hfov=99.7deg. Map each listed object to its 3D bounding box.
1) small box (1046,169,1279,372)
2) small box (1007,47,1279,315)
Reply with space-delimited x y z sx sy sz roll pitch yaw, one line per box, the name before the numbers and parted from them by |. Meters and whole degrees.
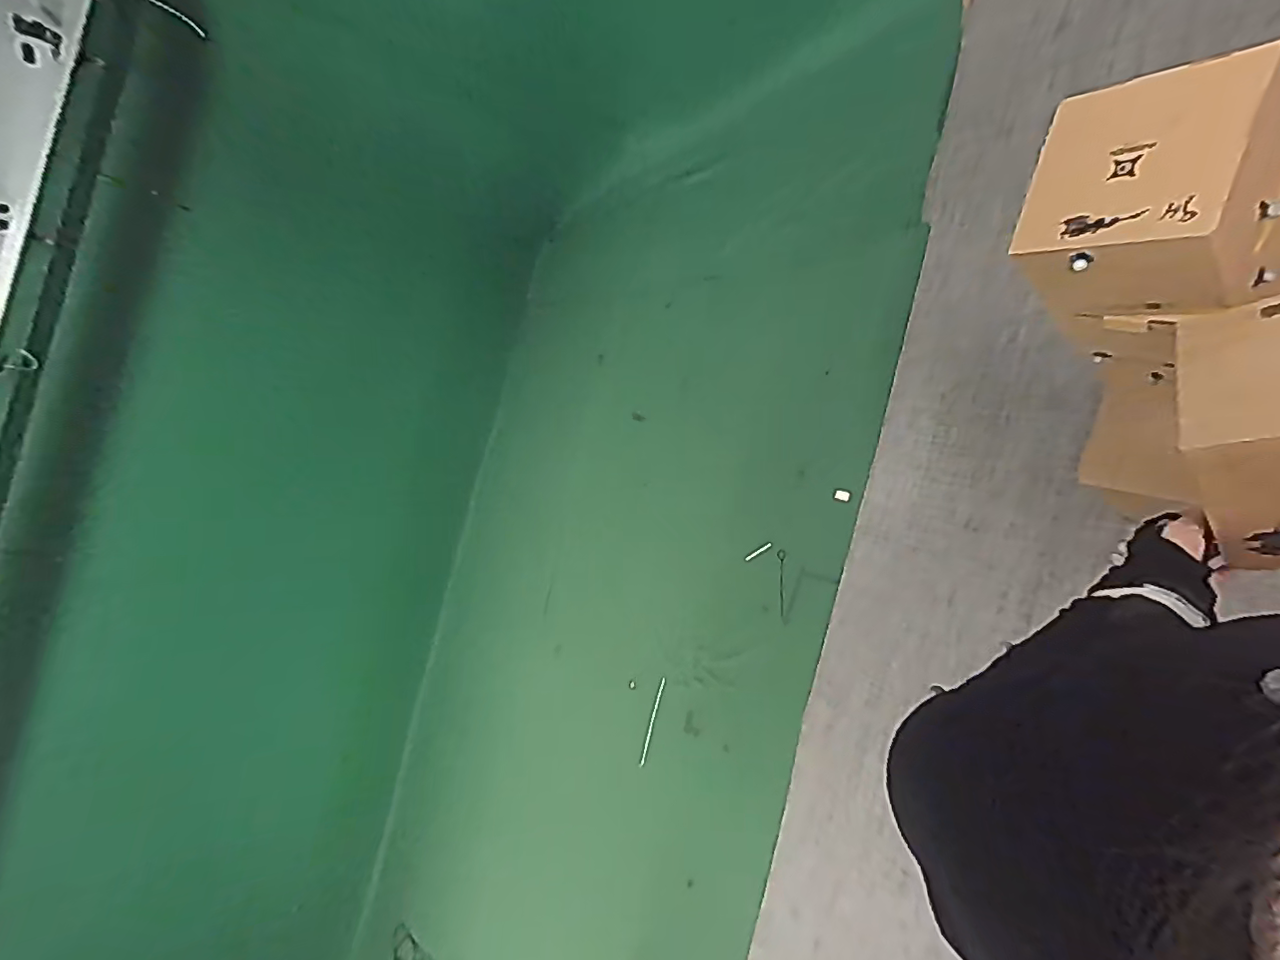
small box | 0.668 -0.253 0.683 0.168 0.176 0.179 33 102 51
small box | 0.543 -0.298 0.585 0.168 0.176 0.179 23 94 53
